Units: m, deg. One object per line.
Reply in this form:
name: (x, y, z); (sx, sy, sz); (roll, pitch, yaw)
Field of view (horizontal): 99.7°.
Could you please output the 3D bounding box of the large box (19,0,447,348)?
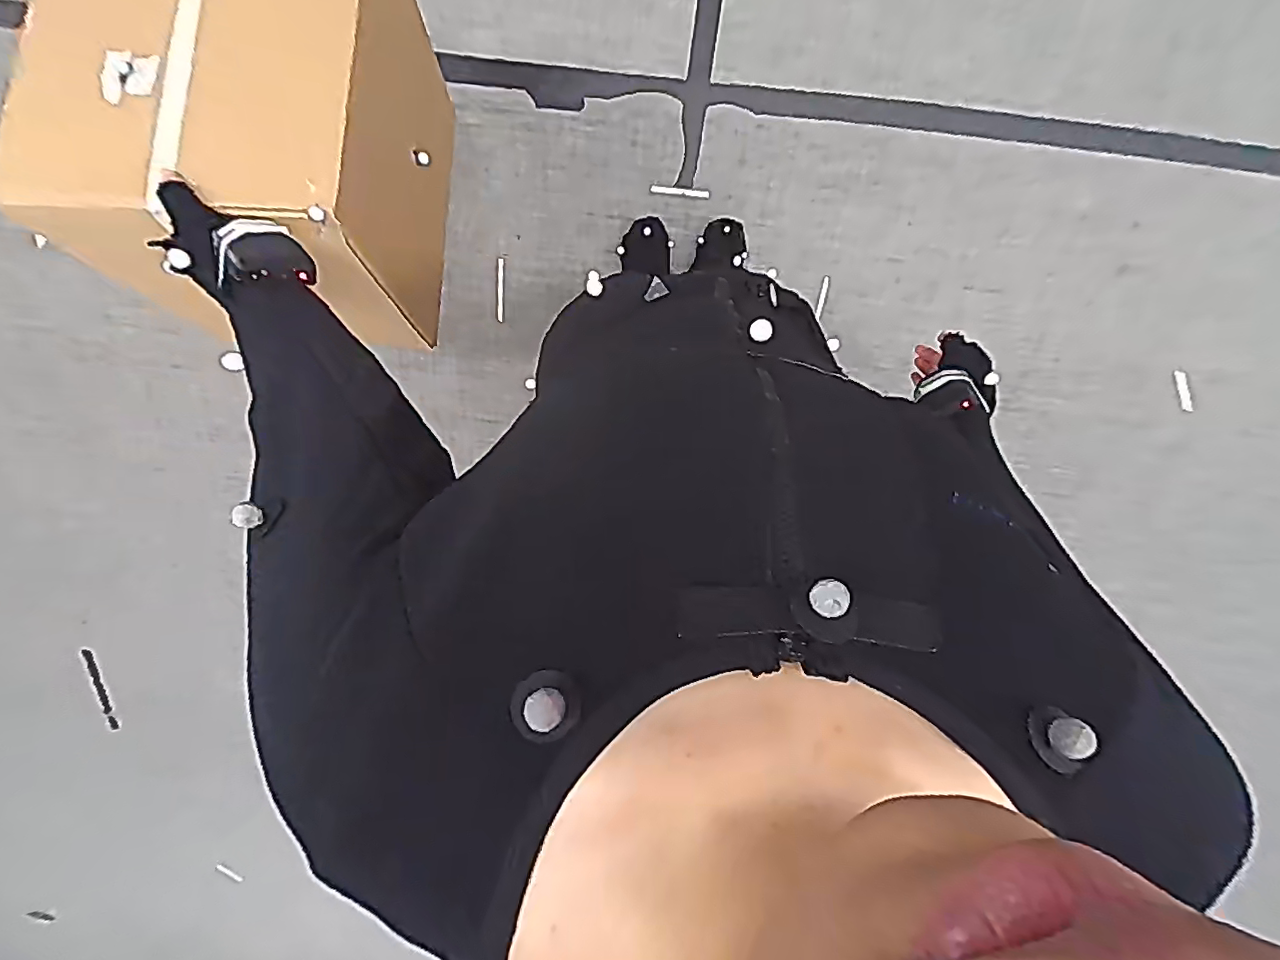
large box: (-0.457, -0.423, 0.705); (0.320, 0.320, 0.408); (1, 81, -2)
